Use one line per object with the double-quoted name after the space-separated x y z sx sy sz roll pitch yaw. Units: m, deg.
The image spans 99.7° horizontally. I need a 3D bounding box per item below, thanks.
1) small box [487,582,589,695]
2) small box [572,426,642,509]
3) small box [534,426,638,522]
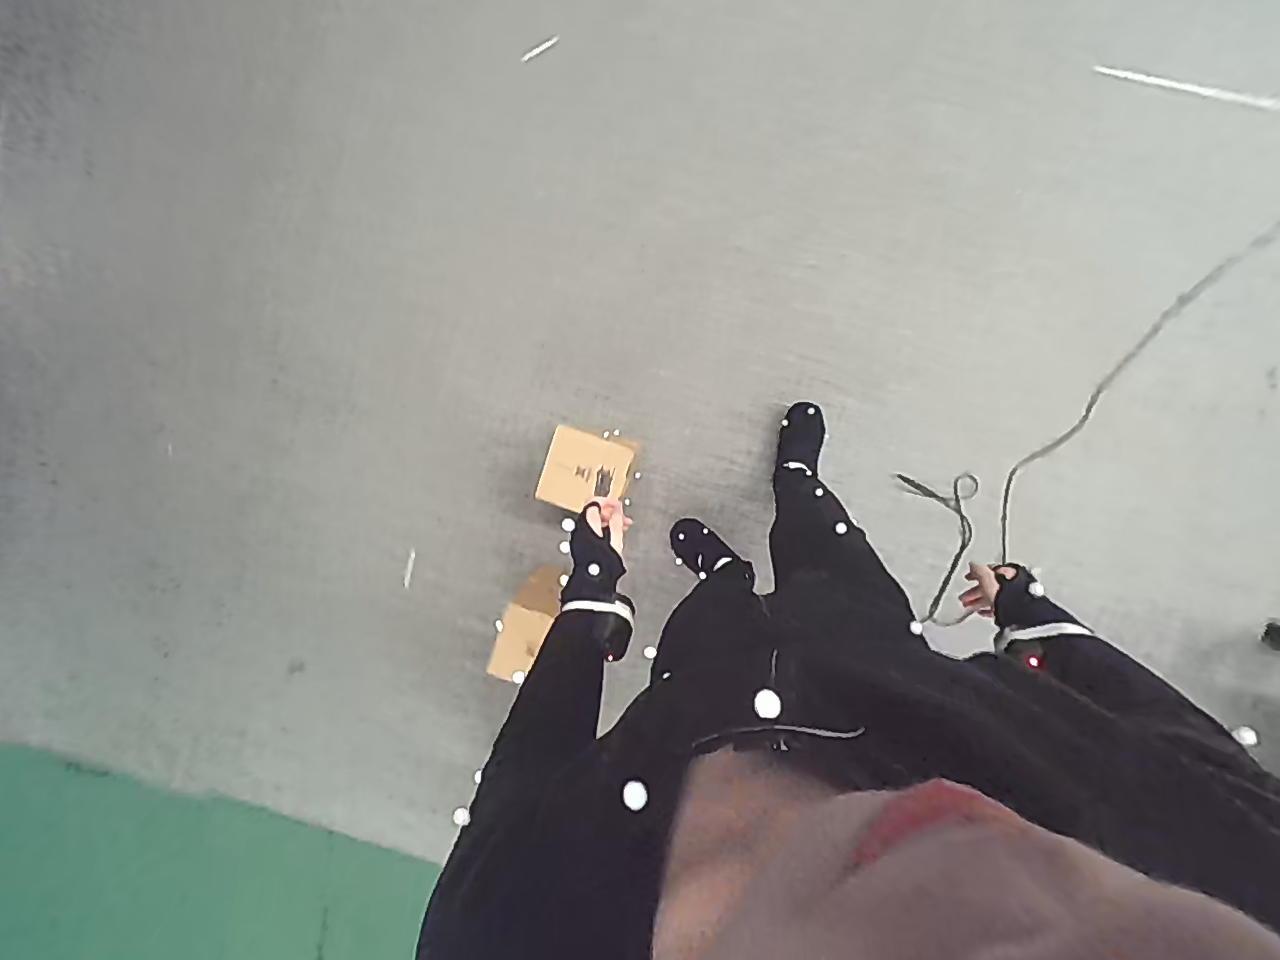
-0.232 0.364 1.275 0.168 0.176 0.179 19 97 4 "small box"
-0.100 -0.039 1.387 0.179 0.176 0.168 17 97 3 "small box"
-0.113 -0.020 1.223 0.179 0.176 0.168 19 97 5 "small box"
